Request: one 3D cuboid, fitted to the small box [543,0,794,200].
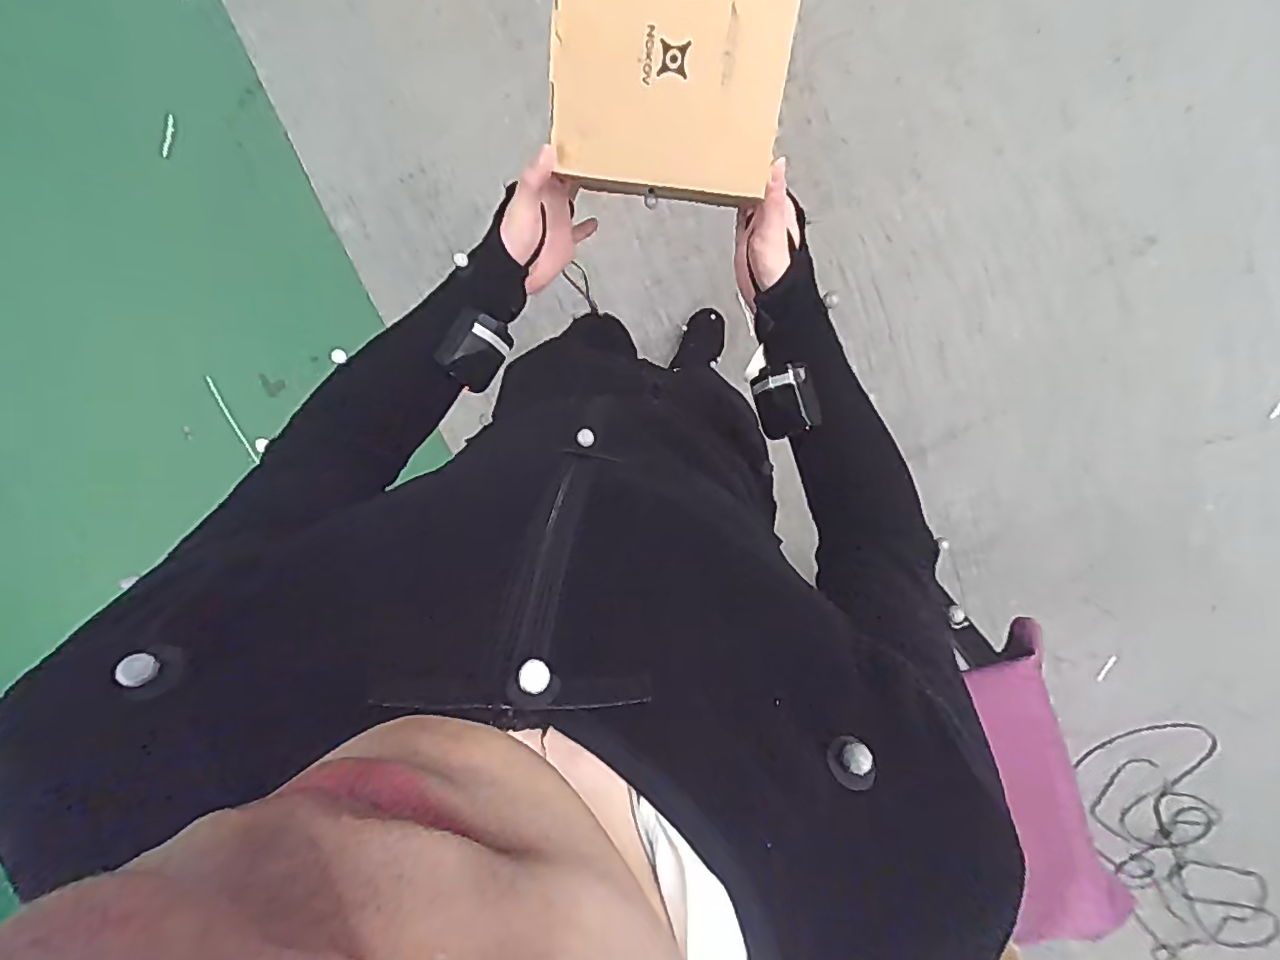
[{"bbox_3d":[0.026,-0.346,0.469,0.179,0.176,0.168,9,116,2],"label":"small box"}]

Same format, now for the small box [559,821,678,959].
[{"bbox_3d":[-0.035,0.836,1.098,0.179,0.176,0.168,-21,104,14],"label":"small box"}]
